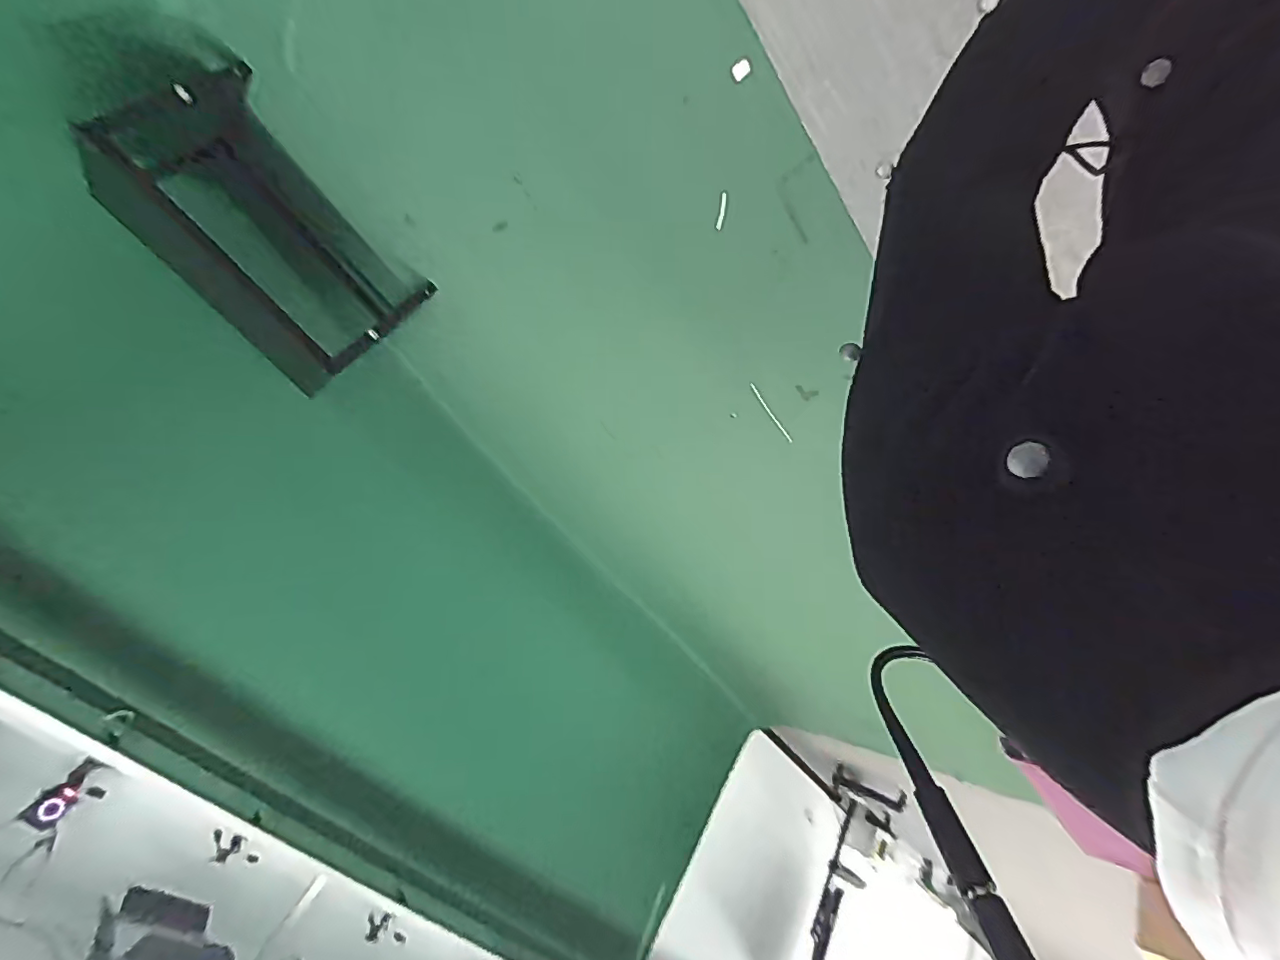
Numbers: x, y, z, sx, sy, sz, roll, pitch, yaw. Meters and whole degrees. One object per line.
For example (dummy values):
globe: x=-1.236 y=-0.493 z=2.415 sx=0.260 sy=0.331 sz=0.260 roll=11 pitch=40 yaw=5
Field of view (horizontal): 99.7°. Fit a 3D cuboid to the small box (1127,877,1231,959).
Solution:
small box: x=1.393 y=1.177 z=1.398 sx=0.179 sy=0.176 sz=0.168 roll=48 pitch=149 yaw=-21
